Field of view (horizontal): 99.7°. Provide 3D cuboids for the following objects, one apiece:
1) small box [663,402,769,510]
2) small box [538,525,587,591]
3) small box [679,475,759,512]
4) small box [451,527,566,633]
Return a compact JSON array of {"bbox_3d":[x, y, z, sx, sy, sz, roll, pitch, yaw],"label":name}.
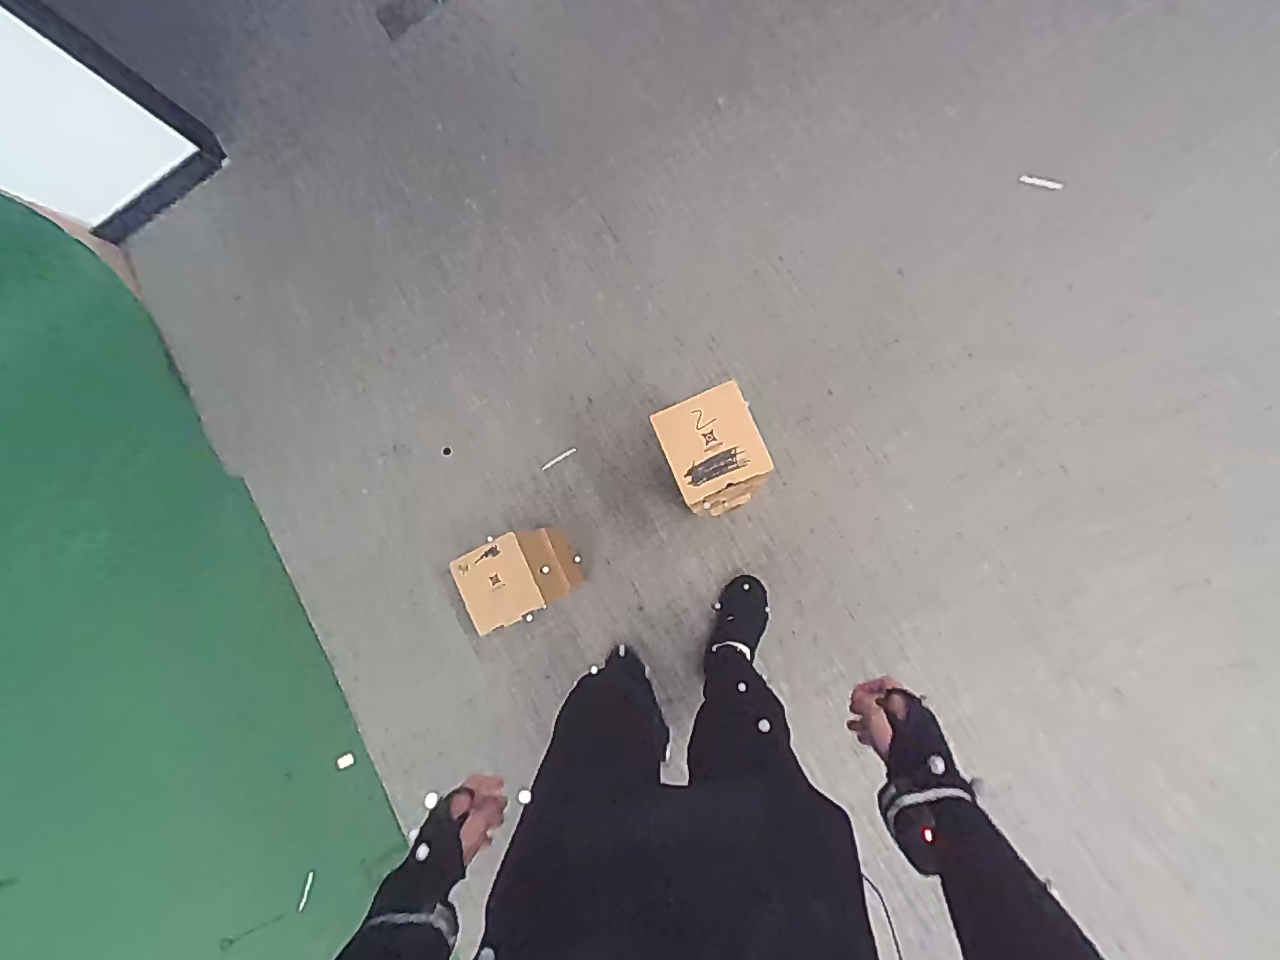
[{"bbox_3d":[0.163,-0.042,1.174,0.168,0.176,0.179,-24,83,6],"label":"small box"},{"bbox_3d":[-0.260,0.224,1.389,0.179,0.176,0.168,-25,83,6],"label":"small box"},{"bbox_3d":[0.184,-0.025,1.332,0.168,0.176,0.179,-19,84,9],"label":"small box"},{"bbox_3d":[-0.288,0.218,1.227,0.168,0.176,0.179,-26,84,7],"label":"small box"}]
